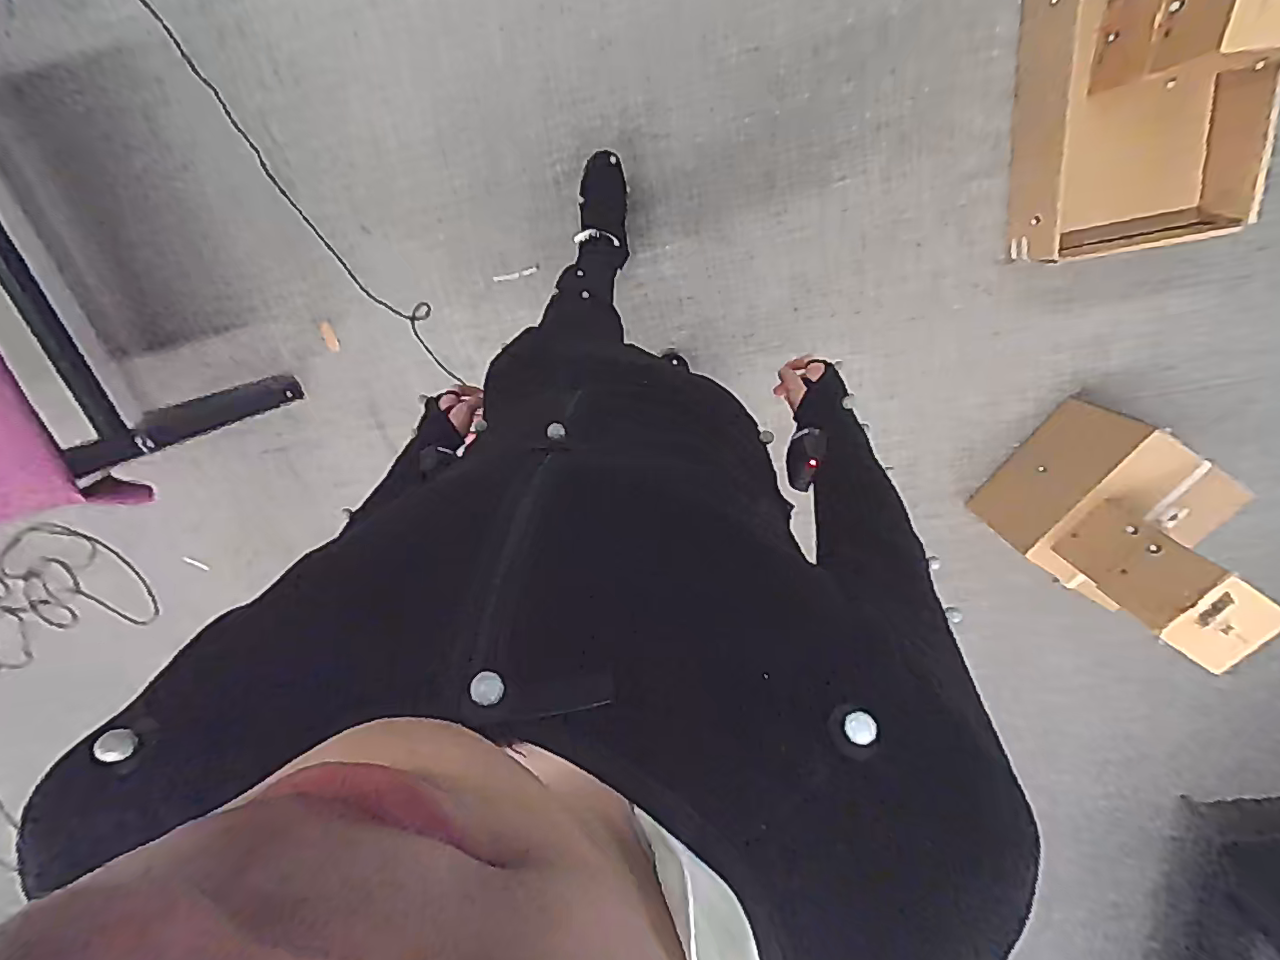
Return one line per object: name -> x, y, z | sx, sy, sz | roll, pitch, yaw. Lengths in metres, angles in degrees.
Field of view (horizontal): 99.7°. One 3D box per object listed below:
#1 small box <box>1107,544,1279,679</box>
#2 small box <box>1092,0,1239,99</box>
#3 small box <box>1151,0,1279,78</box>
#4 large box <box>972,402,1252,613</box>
small box -> 1.108, 0.252, 1.080 | 0.179, 0.176, 0.168 | 31, 111, -9
small box -> 1.073, -0.889, 1.086 | 0.179, 0.176, 0.168 | -5, 115, 7
small box -> 1.066, -0.821, 0.938 | 0.179, 0.176, 0.168 | -1, 114, 6
large box -> 1.206, 0.062, 1.440 | 0.320, 0.320, 0.408 | 30, 110, -8
